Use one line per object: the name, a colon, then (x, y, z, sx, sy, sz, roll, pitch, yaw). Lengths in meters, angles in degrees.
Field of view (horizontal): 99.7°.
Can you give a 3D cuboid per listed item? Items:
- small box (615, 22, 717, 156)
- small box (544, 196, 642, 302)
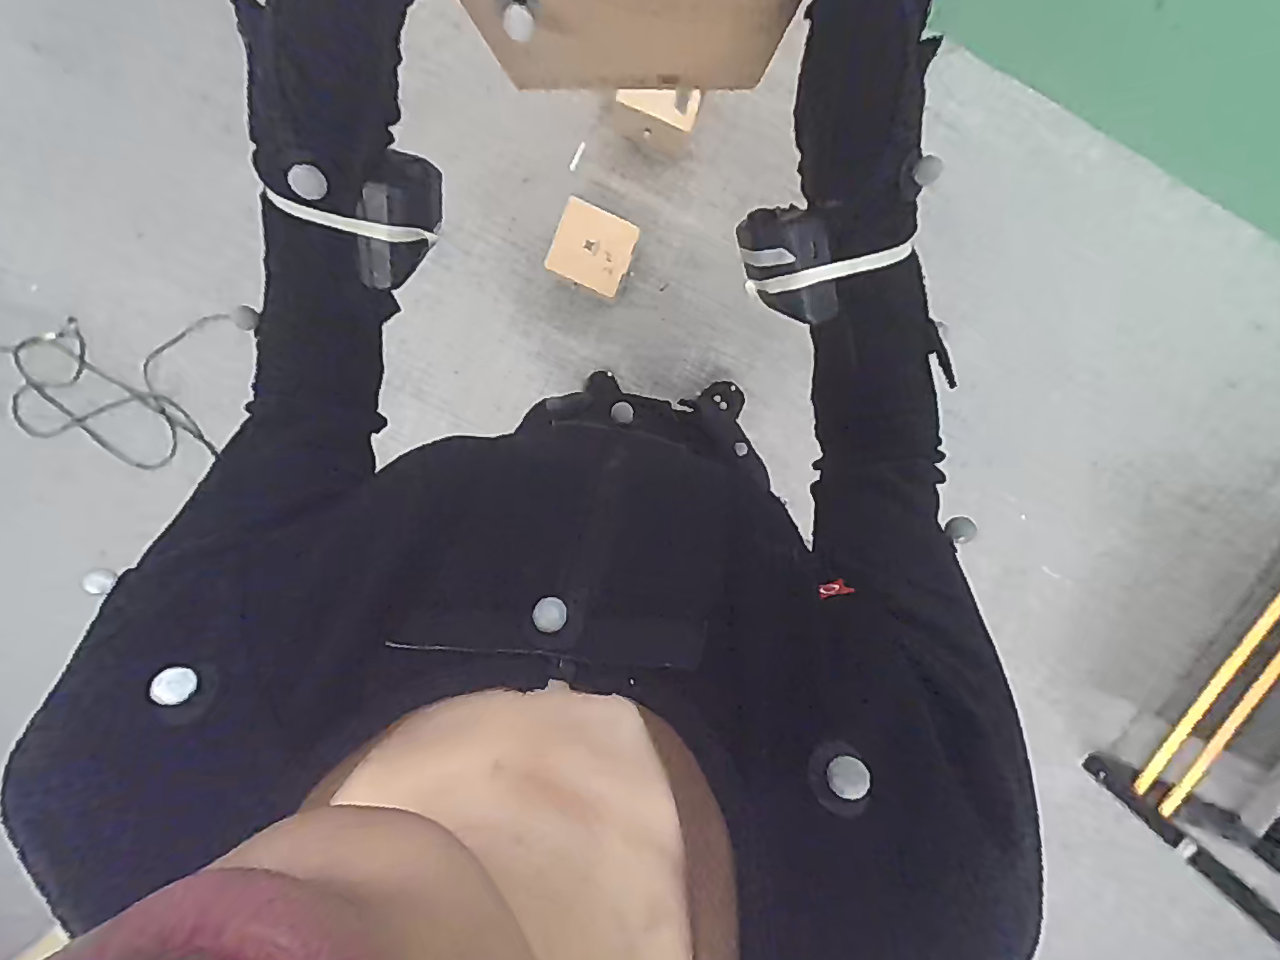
small box: (0.055, -0.873, 1.232, 0.179, 0.176, 0.168, 21, 100, -4)
small box: (-0.108, -0.540, 1.294, 0.179, 0.176, 0.168, 23, 101, -6)
